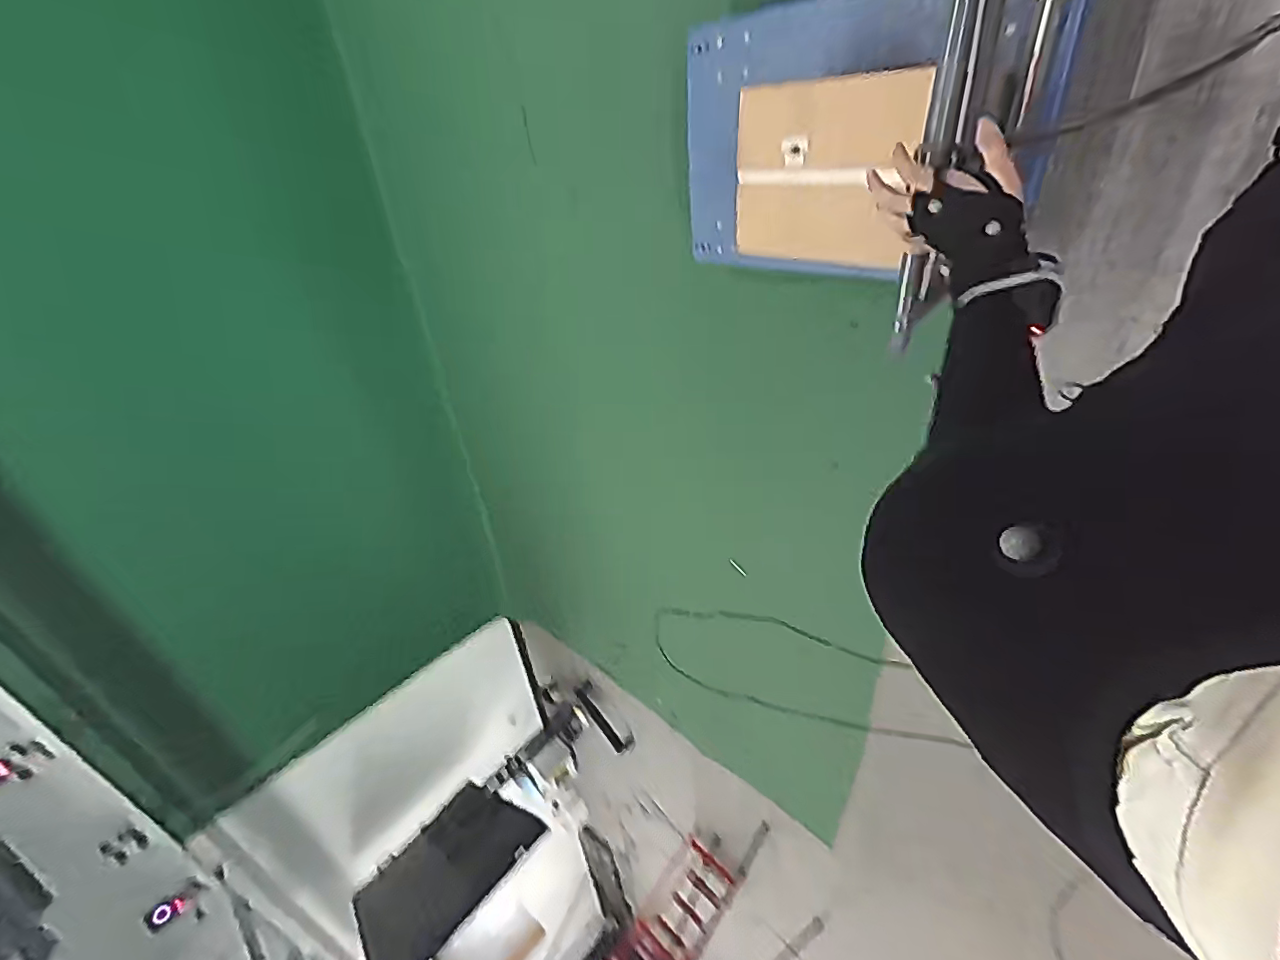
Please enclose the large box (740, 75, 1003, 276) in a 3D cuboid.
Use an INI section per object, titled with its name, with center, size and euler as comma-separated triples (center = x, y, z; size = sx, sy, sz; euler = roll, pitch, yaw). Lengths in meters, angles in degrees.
[large box]
center = 0.470, -0.645, 1.150
size = 0.408, 0.320, 0.320
euler = 24, 132, 37
